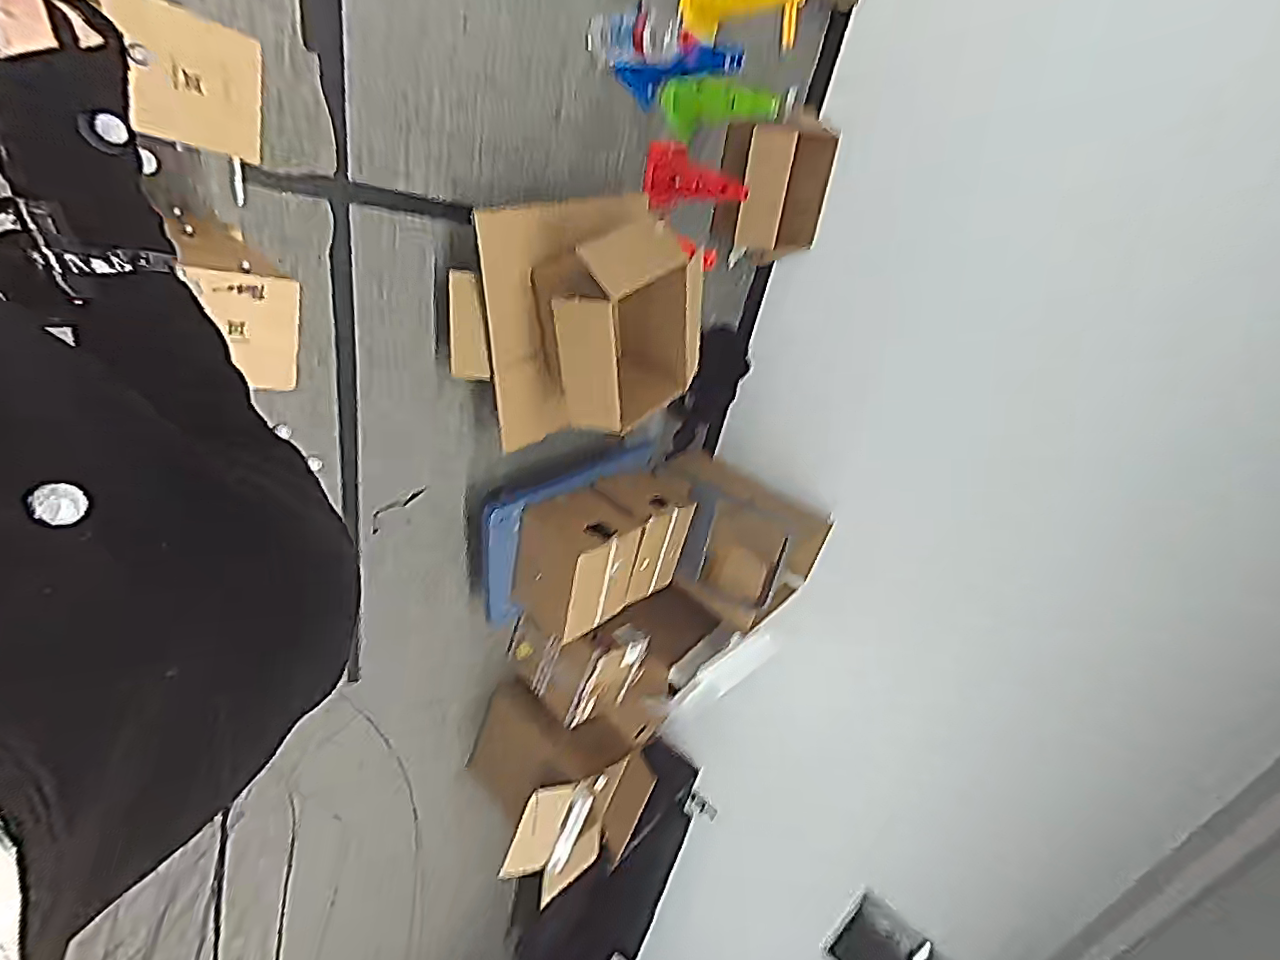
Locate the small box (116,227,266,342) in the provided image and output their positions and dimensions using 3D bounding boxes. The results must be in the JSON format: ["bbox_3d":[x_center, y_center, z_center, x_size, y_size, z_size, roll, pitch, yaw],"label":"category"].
[{"bbox_3d":[-0.761,-0.316,0.924,0.168,0.176,0.179,-14,128,-48],"label":"small box"}]

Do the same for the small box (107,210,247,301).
[{"bbox_3d":[-0.867,-0.398,1.021,0.179,0.176,0.168,-18,131,-47],"label":"small box"}]

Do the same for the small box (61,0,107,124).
[{"bbox_3d":[-0.808,-0.661,0.881,0.168,0.176,0.179,-10,125,-51],"label":"small box"}]

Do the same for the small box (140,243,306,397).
[{"bbox_3d":[-0.645,-0.242,0.836,0.168,0.176,0.179,-10,126,-50],"label":"small box"}]

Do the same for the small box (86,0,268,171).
[{"bbox_3d":[-0.686,-0.586,0.803,0.179,0.176,0.168,-13,129,-51],"label":"small box"}]
